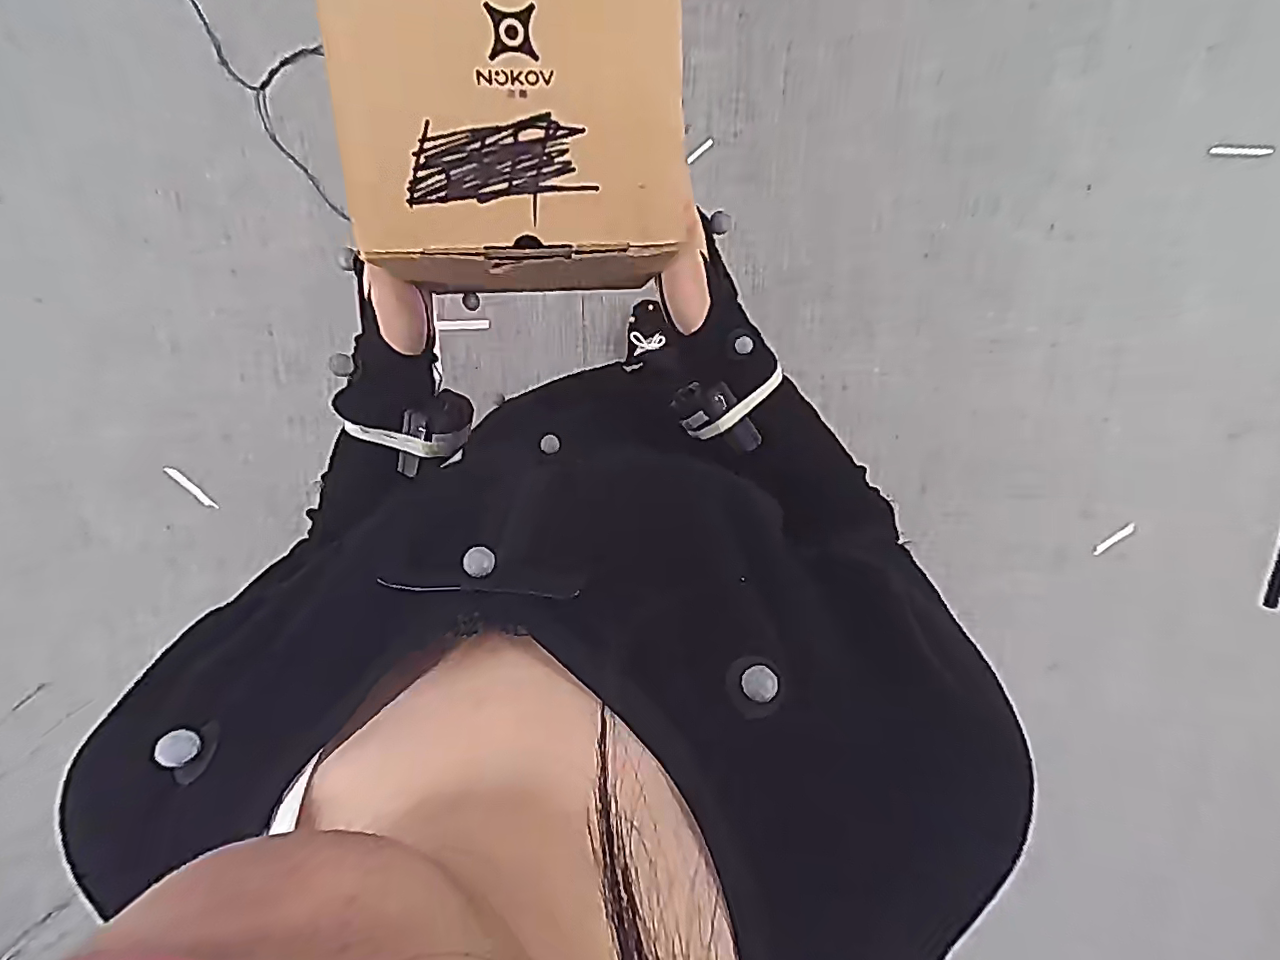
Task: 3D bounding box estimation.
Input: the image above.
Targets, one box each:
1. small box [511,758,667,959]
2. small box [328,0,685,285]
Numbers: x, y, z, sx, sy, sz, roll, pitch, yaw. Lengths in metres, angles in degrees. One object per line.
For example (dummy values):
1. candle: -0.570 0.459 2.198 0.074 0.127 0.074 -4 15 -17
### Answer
1. small box: -0.063 0.494 0.712 0.179 0.176 0.168 4 102 -3
2. small box: -0.069 -0.220 0.333 0.168 0.176 0.179 -4 102 -8
